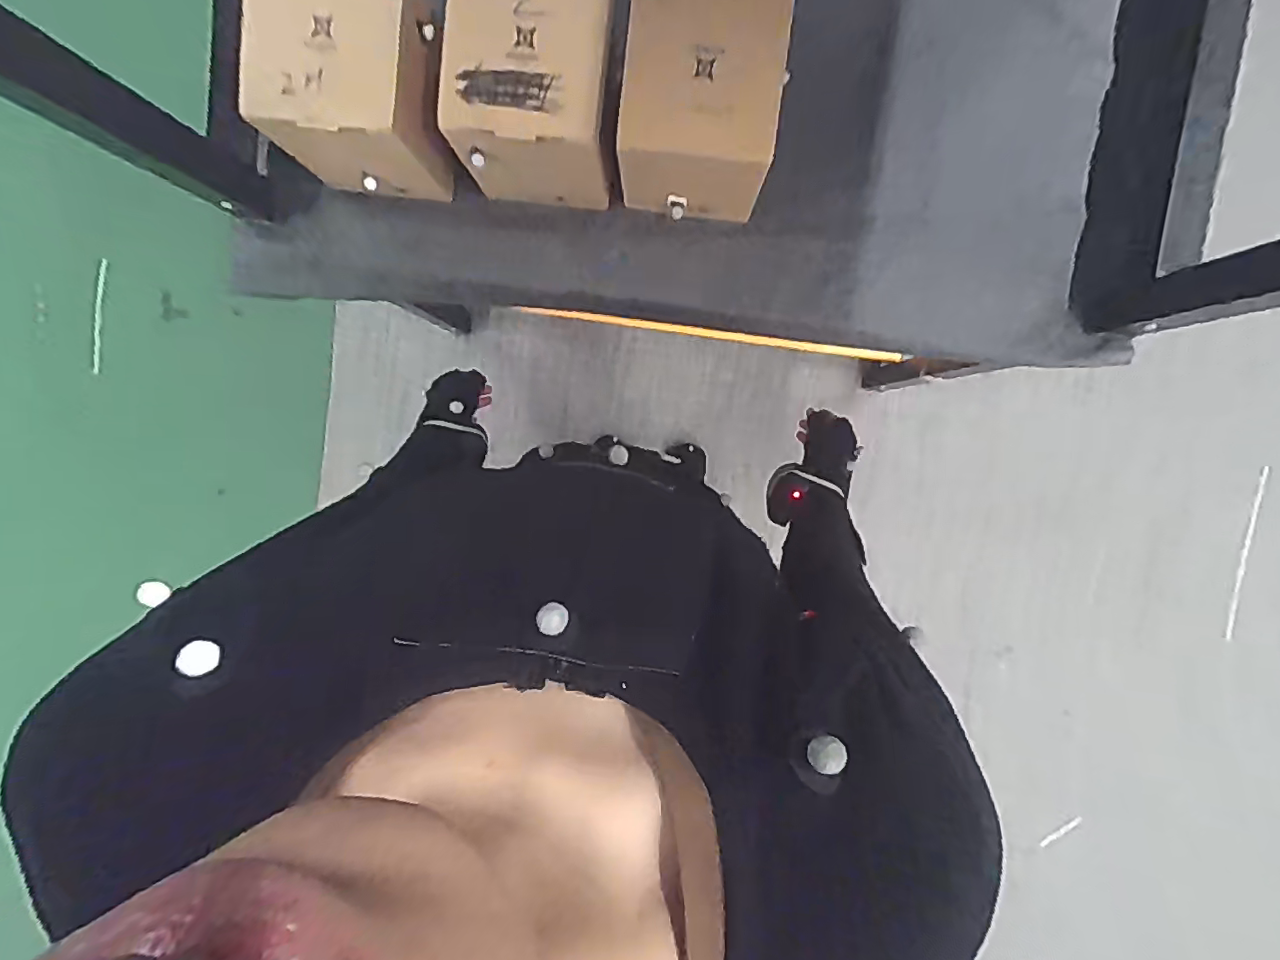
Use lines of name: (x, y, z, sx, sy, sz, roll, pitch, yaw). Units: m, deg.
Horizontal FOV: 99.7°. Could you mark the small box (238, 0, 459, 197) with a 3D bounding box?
small box: (-0.323, -0.463, 0.631, 0.168, 0.176, 0.179, 6, 95, 1)
